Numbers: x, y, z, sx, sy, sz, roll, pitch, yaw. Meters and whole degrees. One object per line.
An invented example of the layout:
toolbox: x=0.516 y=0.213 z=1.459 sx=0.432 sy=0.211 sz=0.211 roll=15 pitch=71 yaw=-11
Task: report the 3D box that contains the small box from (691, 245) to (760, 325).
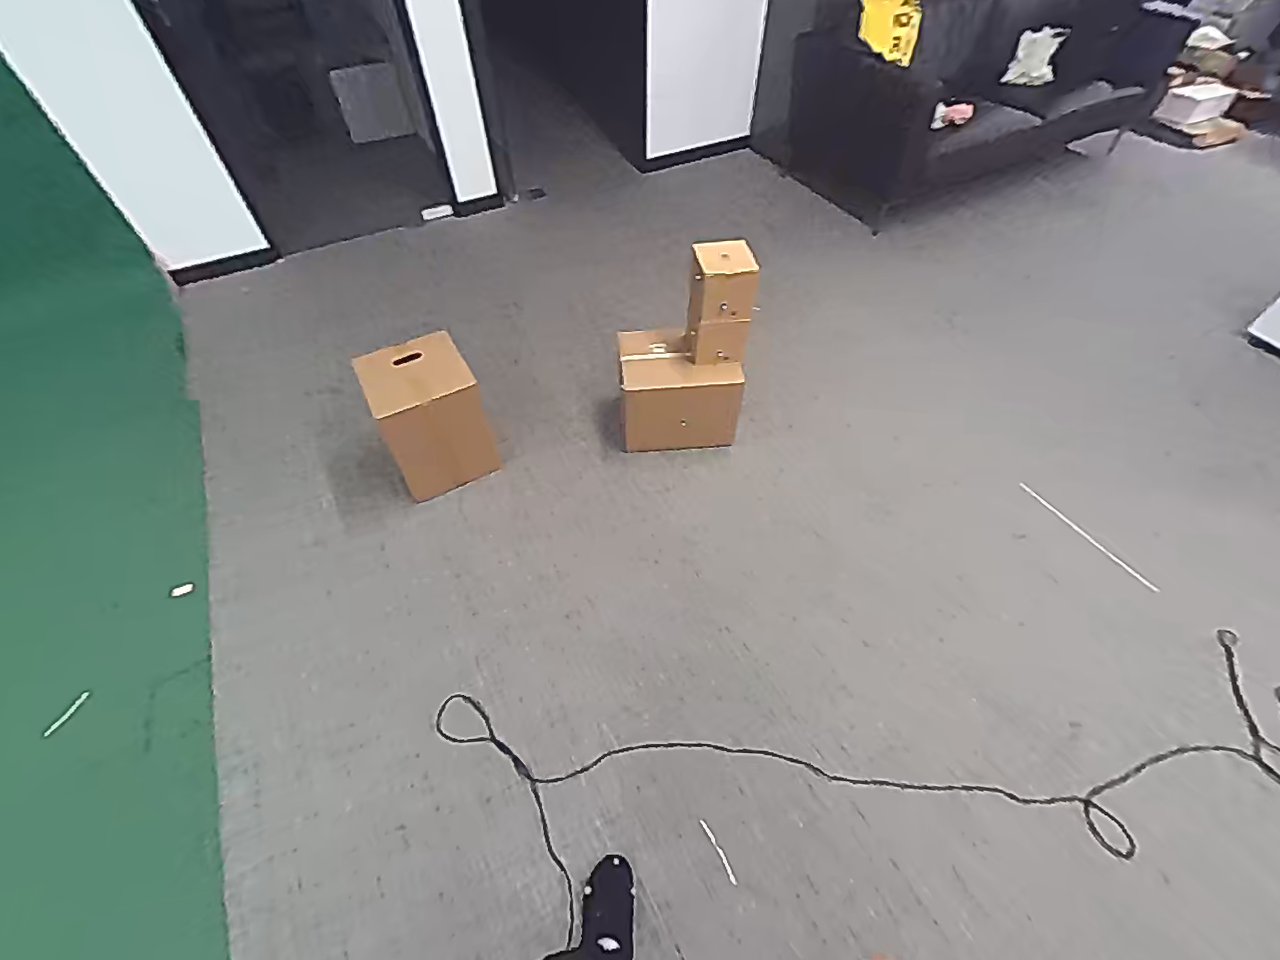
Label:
small box: x=0.258 y=-0.607 z=1.682 sx=0.168 sy=0.176 sz=0.179 roll=-7 pitch=52 yaw=-6
